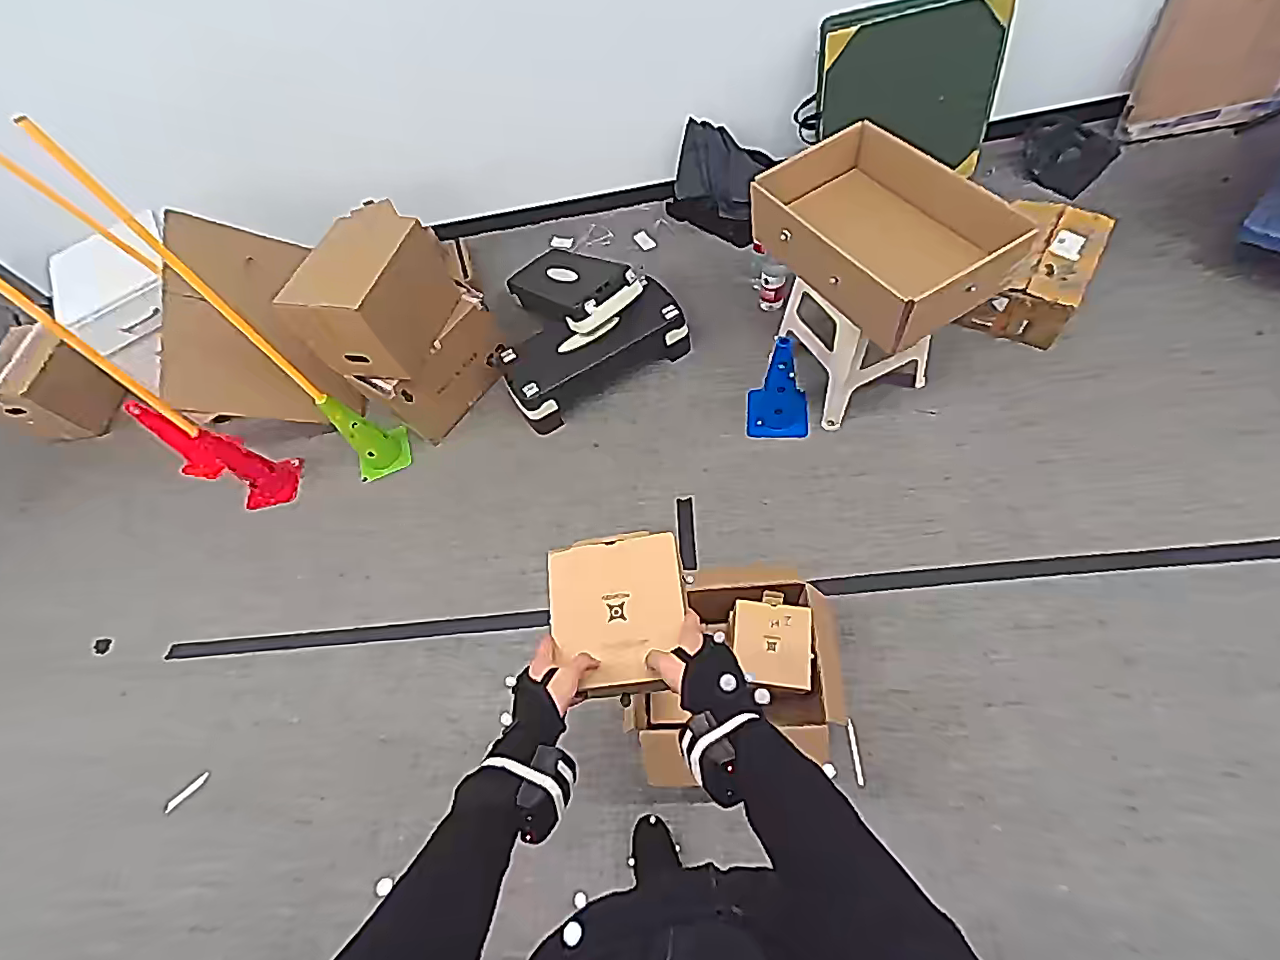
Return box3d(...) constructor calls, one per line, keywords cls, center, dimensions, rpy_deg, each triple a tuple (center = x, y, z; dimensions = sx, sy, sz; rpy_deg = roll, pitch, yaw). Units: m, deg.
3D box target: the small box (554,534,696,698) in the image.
box3d(cls="small box", center=(-0.016, 0.191, 0.735), dimensions=(0.168, 0.176, 0.179), rpy_deg=(-8, 64, 5))
